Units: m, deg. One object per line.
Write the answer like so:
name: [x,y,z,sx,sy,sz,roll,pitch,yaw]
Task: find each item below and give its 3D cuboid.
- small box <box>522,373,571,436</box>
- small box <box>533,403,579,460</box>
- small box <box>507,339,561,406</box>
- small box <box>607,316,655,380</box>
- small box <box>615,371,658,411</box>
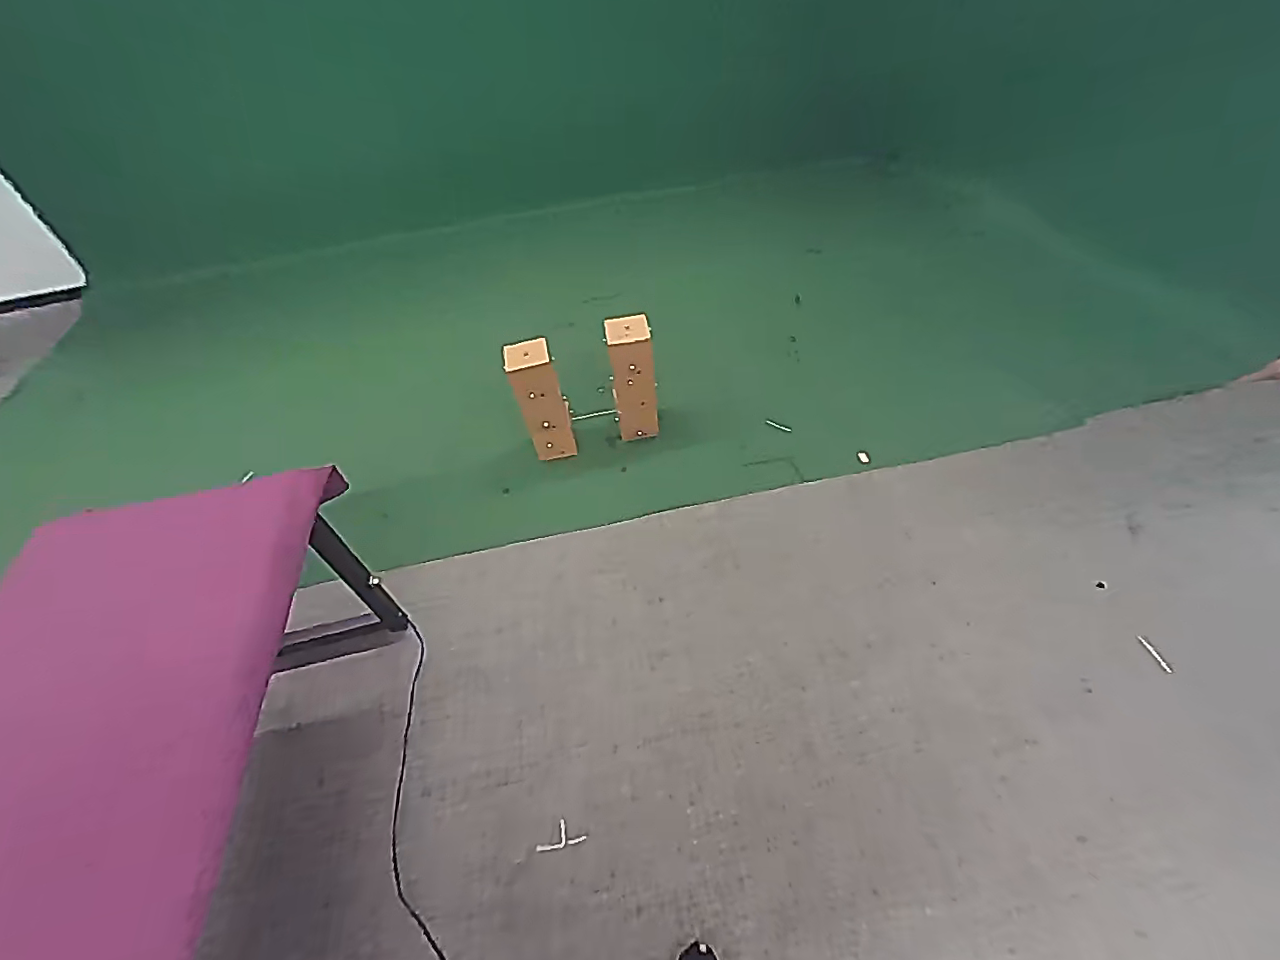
small box: [-0.387,-0.307,2.211,0.168,0.176,0.179,-14,48,-4]
small box: [-0.363,-0.204,2.337,0.168,0.176,0.179,-11,47,-2]
small box: [-0.411,-0.414,2.091,0.168,0.176,0.179,-14,47,-3]
small box: [-0.036,-0.519,2.129,0.168,0.176,0.179,-9,48,0]
small box: [-0.018,-0.412,2.254,0.168,0.176,0.179,-9,47,-1]
